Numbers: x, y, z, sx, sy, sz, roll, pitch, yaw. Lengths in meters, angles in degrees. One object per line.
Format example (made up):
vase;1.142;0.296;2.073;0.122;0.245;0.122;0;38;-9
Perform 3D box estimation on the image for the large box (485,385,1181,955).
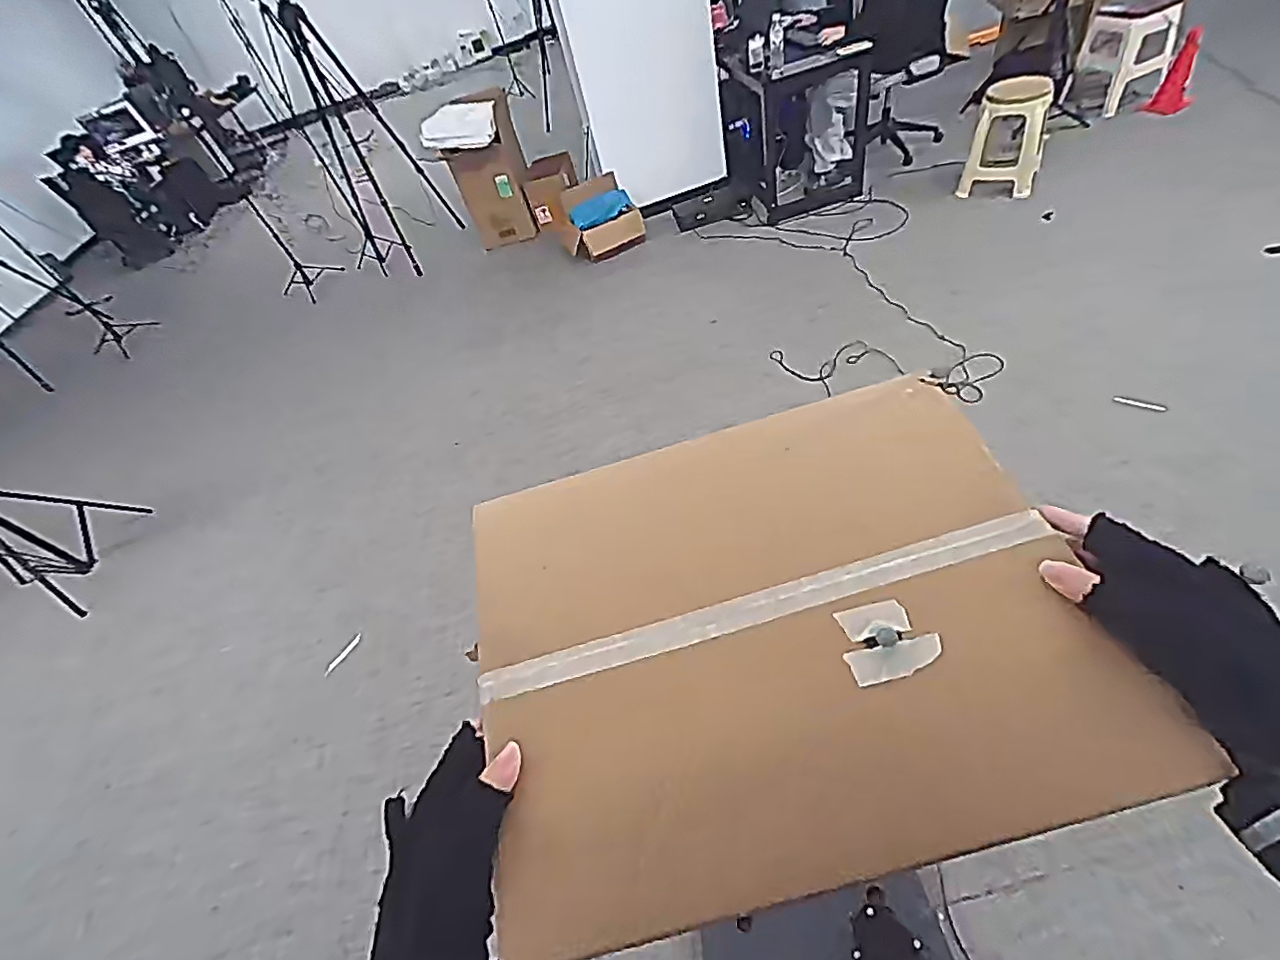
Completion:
large box;0.111;0.175;0.514;0.408;0.320;0.320;-17;56;1
